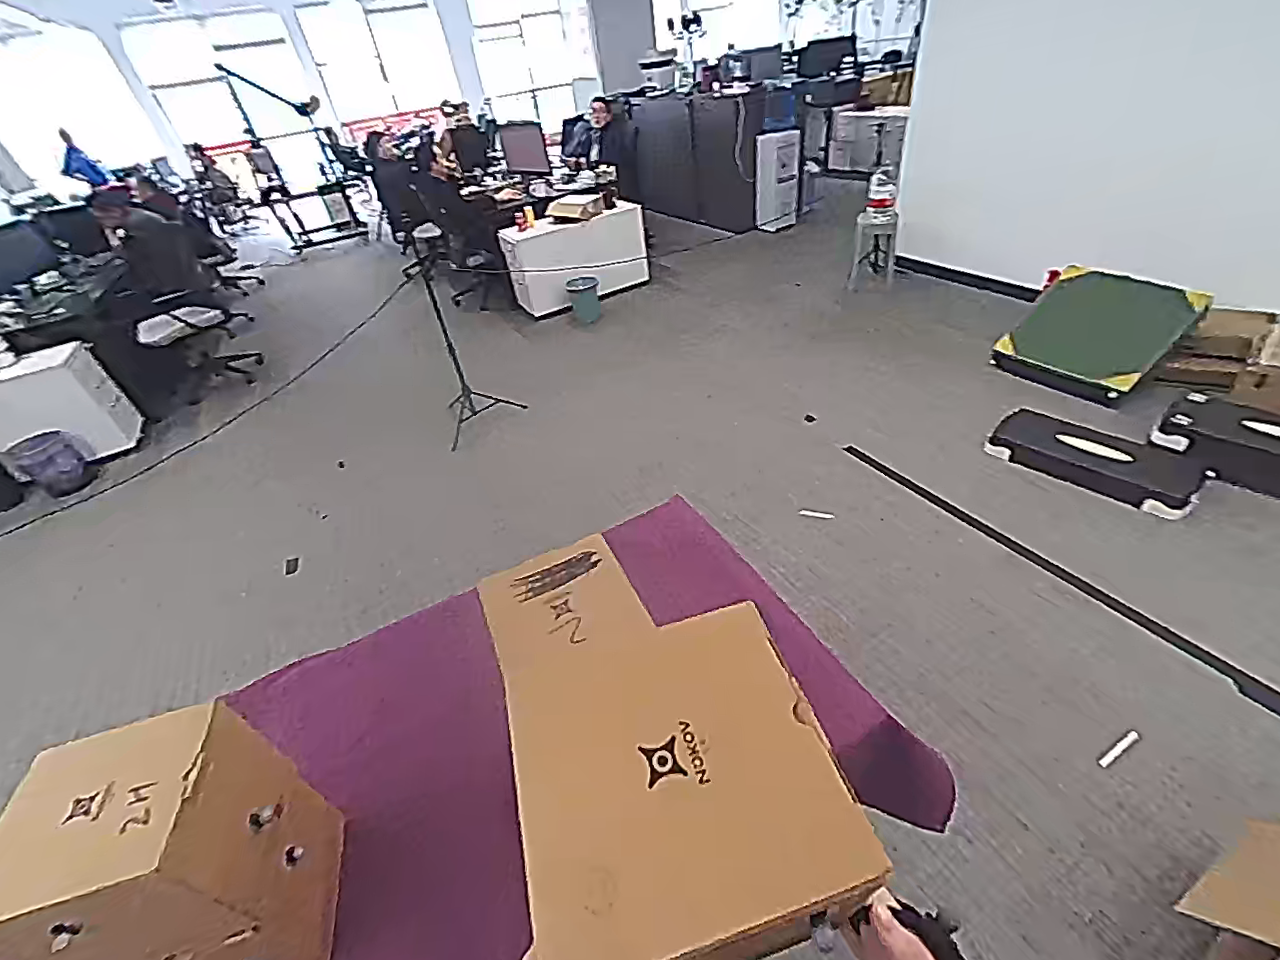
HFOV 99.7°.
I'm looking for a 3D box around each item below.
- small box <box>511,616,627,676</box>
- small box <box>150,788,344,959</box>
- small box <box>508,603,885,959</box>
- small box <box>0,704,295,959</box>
[{"bbox_3d":[-0.063,0.335,0.764,0.168,0.176,0.179,-22,39,-15],"label":"small box"},{"bbox_3d":[-0.483,0.499,0.651,0.168,0.176,0.179,-16,39,-10],"label":"small box"},{"bbox_3d":[0.025,0.217,0.361,0.179,0.176,0.168,-15,44,-9],"label":"small box"},{"bbox_3d":[-0.499,0.369,0.552,0.179,0.176,0.168,-15,40,-9],"label":"small box"}]
